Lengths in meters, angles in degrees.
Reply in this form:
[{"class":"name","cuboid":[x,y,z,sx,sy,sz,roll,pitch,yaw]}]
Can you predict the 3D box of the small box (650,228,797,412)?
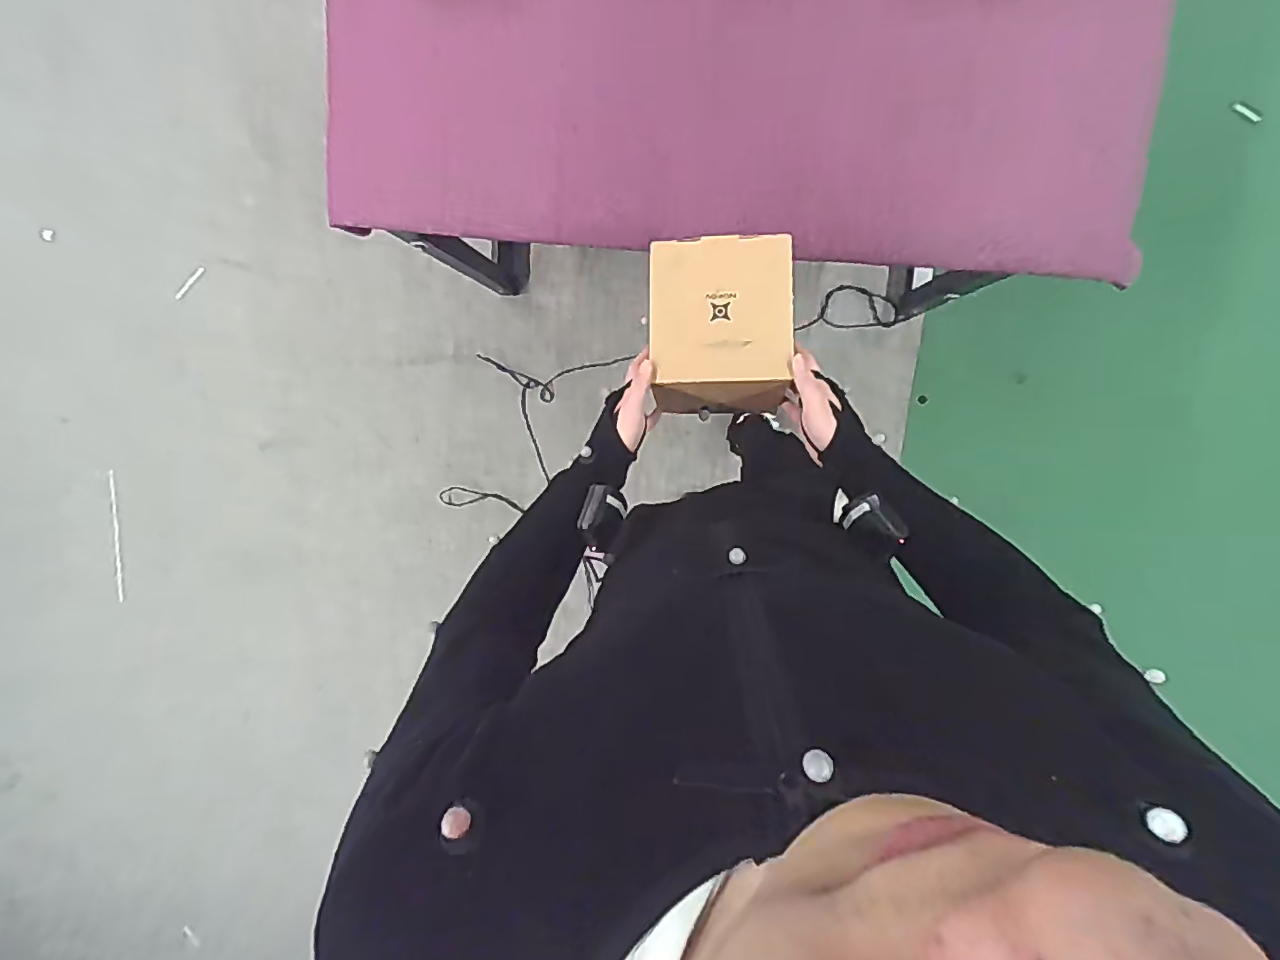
[{"class":"small box","cuboid":[0.102,-0.193,0.690,0.168,0.176,0.179,0,85,6]}]
